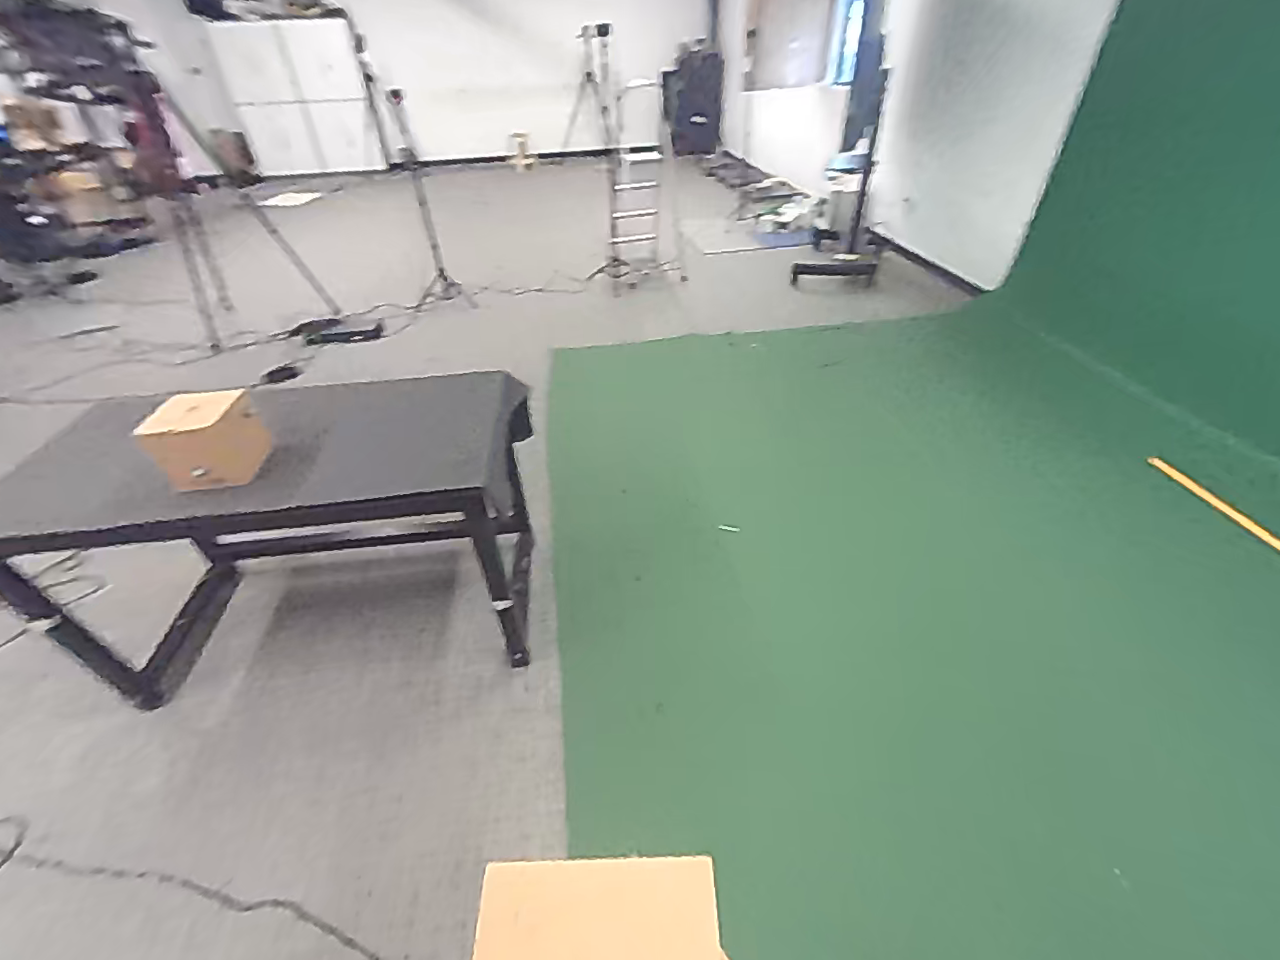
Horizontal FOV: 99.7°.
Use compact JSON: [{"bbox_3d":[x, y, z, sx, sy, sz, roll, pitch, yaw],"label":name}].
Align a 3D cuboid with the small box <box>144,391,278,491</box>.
[{"bbox_3d":[-1.014,-0.095,1.301,0.168,0.176,0.179,-7,38,-4],"label":"small box"}]
